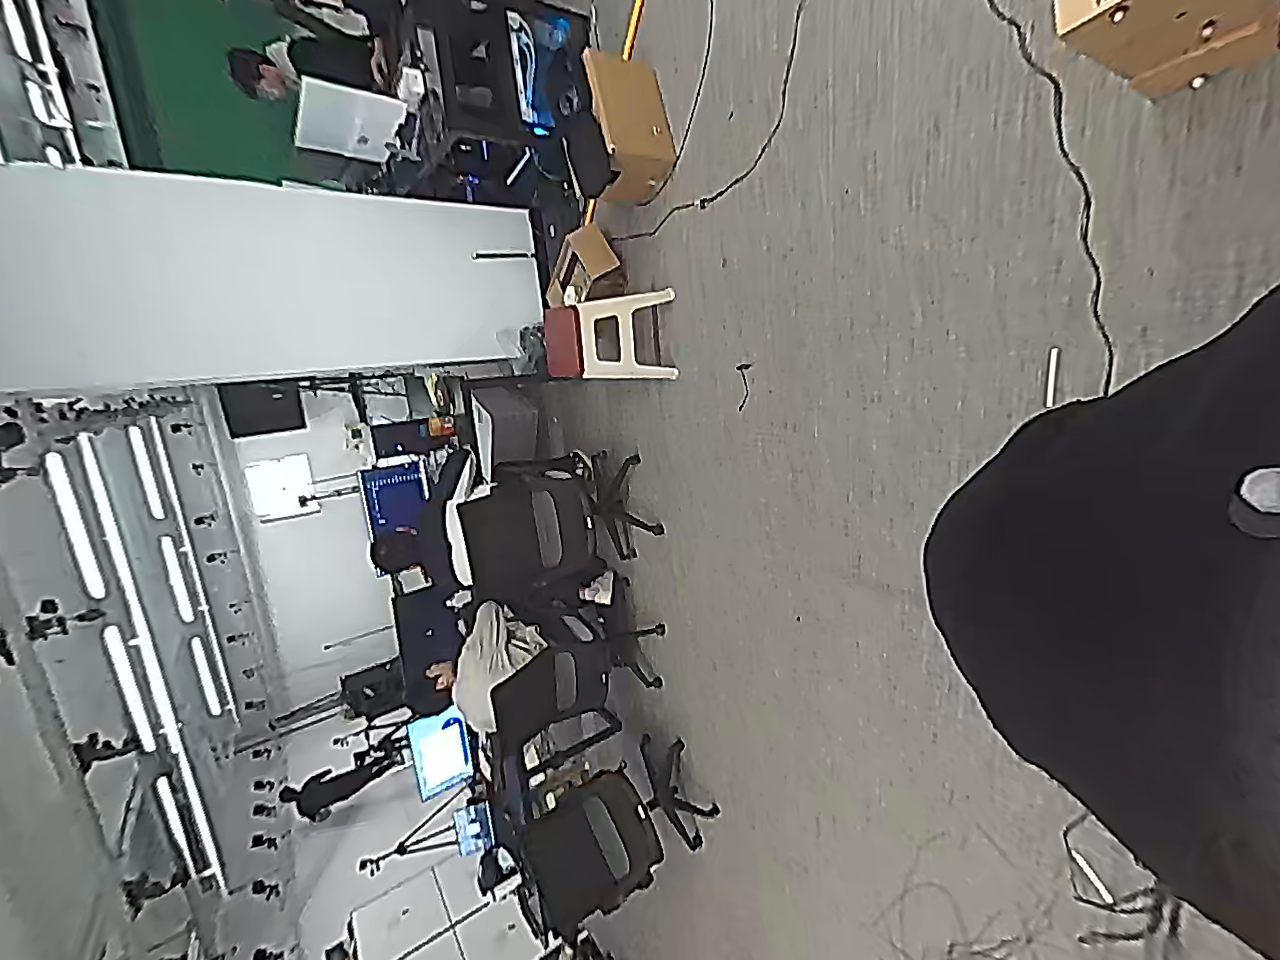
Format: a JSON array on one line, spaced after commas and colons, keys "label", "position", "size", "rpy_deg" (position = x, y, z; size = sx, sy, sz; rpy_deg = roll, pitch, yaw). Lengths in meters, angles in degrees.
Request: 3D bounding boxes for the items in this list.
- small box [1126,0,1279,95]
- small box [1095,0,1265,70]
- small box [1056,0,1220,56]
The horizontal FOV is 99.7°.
[{"label": "small box", "position": [0.971, -0.805, 0.927], "size": [0.168, 0.176, 0.179], "rpy_deg": [8, 109, 55]}, {"label": "small box", "position": [0.836, -0.780, 0.839], "size": [0.168, 0.176, 0.179], "rpy_deg": [2, 102, 55]}, {"label": "small box", "position": [0.703, -0.744, 0.750], "size": [0.168, 0.176, 0.179], "rpy_deg": [-1, 100, 56]}]
